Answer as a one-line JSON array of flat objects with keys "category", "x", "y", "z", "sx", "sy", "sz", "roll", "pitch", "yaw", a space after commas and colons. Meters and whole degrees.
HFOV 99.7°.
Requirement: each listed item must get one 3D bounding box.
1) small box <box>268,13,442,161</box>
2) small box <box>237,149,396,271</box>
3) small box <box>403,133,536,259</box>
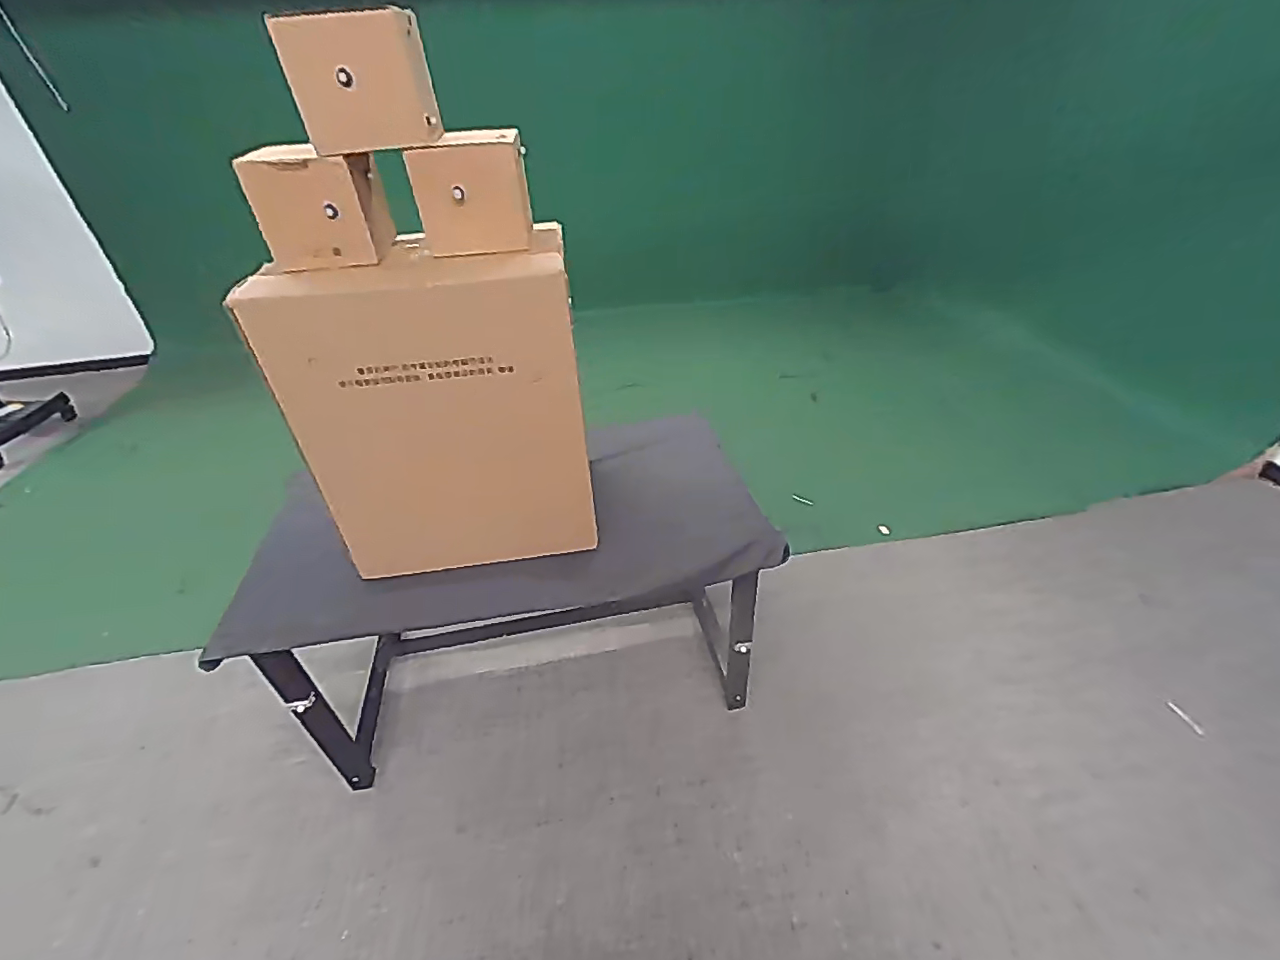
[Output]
[{"category": "small box", "x": -0.429, "y": -0.618, "z": 0.854, "sx": 0.179, "sy": 0.176, "sz": 0.168, "roll": -9, "pitch": 39, "yaw": -4}, {"category": "small box", "x": -0.546, "y": -0.472, "z": 0.946, "sx": 0.168, "sy": 0.176, "sz": 0.179, "roll": -7, "pitch": 37, "yaw": -6}, {"category": "small box", "x": -0.292, "y": -0.507, "z": 0.967, "sx": 0.179, "sy": 0.176, "sz": 0.168, "roll": -7, "pitch": 40, "yaw": -3}]
